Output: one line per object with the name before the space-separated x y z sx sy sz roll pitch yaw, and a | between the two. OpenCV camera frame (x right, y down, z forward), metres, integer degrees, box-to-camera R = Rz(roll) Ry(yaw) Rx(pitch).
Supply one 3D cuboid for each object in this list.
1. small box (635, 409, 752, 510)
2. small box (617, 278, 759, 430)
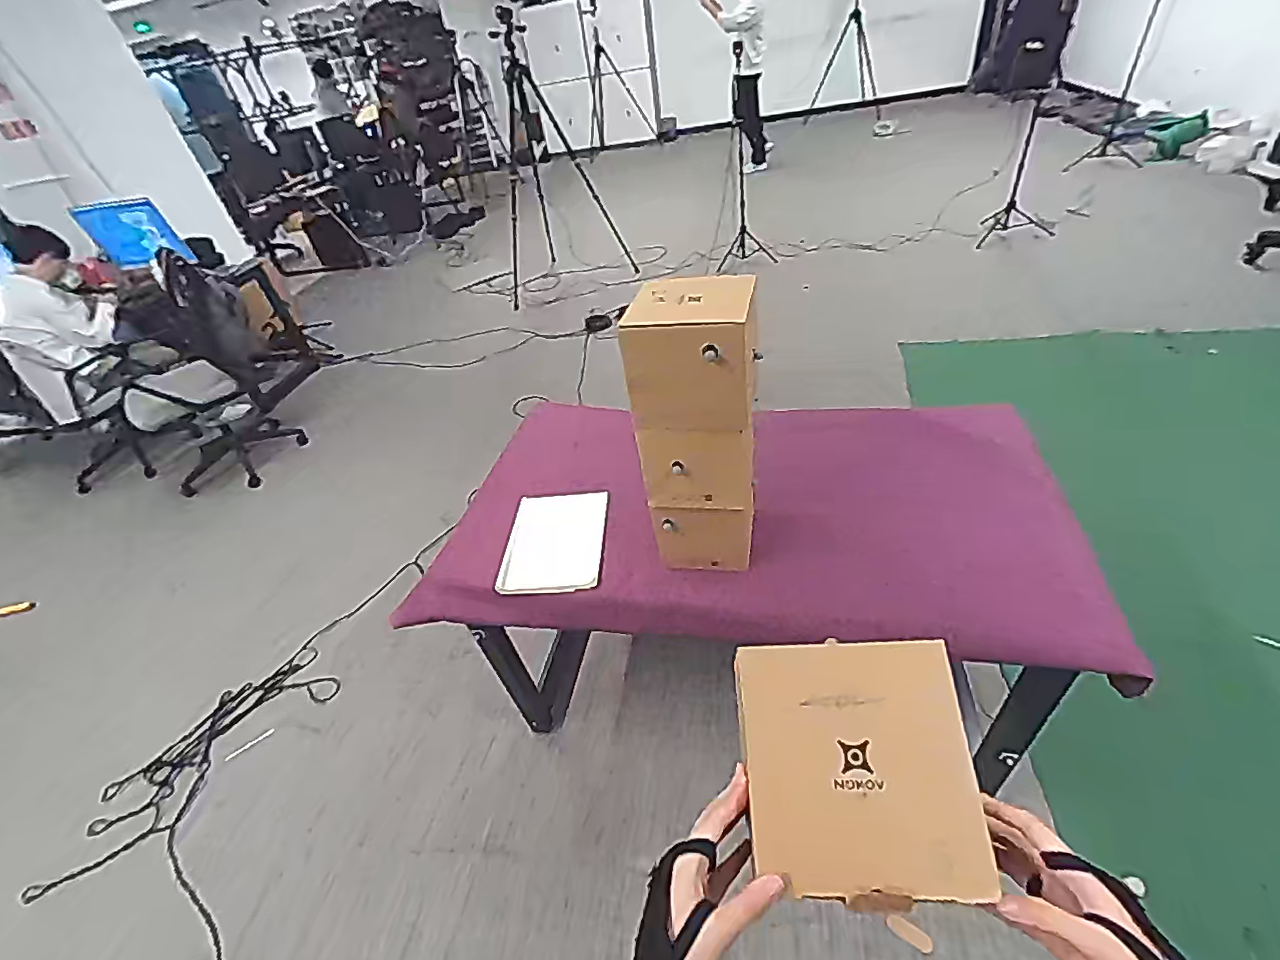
small box | 0.100 -0.065 0.920 0.168 0.176 0.179 2 40 15
small box | 0.082 -0.187 0.810 0.179 0.176 0.168 3 40 17
